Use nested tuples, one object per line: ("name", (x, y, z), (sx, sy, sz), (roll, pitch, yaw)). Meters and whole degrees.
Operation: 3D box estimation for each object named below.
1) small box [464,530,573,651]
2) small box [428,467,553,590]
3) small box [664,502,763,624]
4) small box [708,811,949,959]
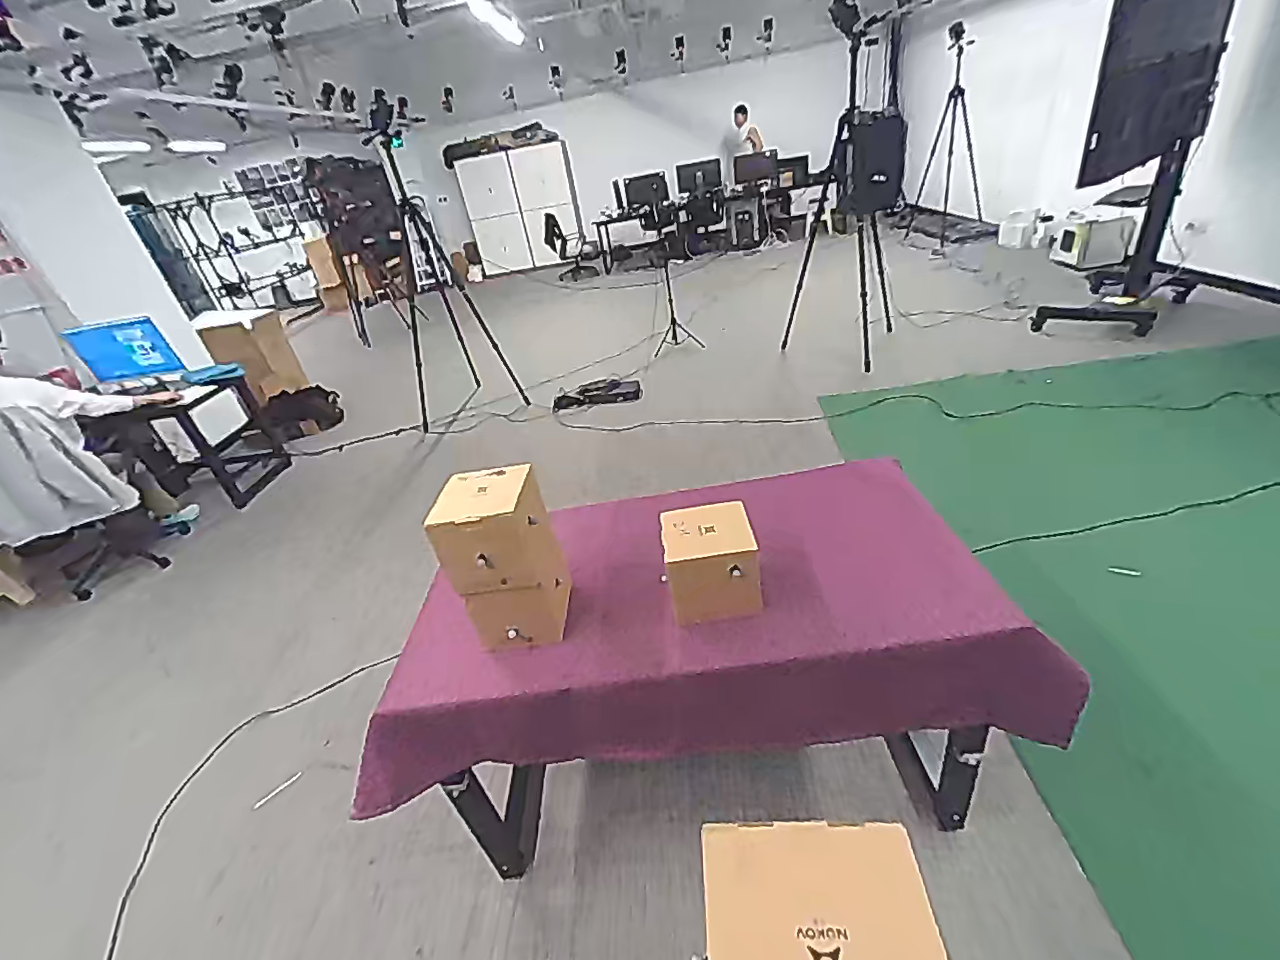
("small box", (-0.243, 0.231, 1.137), (0.168, 0.176, 0.179), (-9, 32, 6))
("small box", (-0.276, 0.098, 1.046), (0.168, 0.176, 0.179), (-8, 32, 6))
("small box", (0.150, 0.170, 1.101), (0.179, 0.176, 0.168), (-10, 30, 4))
("small box", (0.141, 0.395, 0.433), (0.168, 0.176, 0.179), (-4, 37, 6))
